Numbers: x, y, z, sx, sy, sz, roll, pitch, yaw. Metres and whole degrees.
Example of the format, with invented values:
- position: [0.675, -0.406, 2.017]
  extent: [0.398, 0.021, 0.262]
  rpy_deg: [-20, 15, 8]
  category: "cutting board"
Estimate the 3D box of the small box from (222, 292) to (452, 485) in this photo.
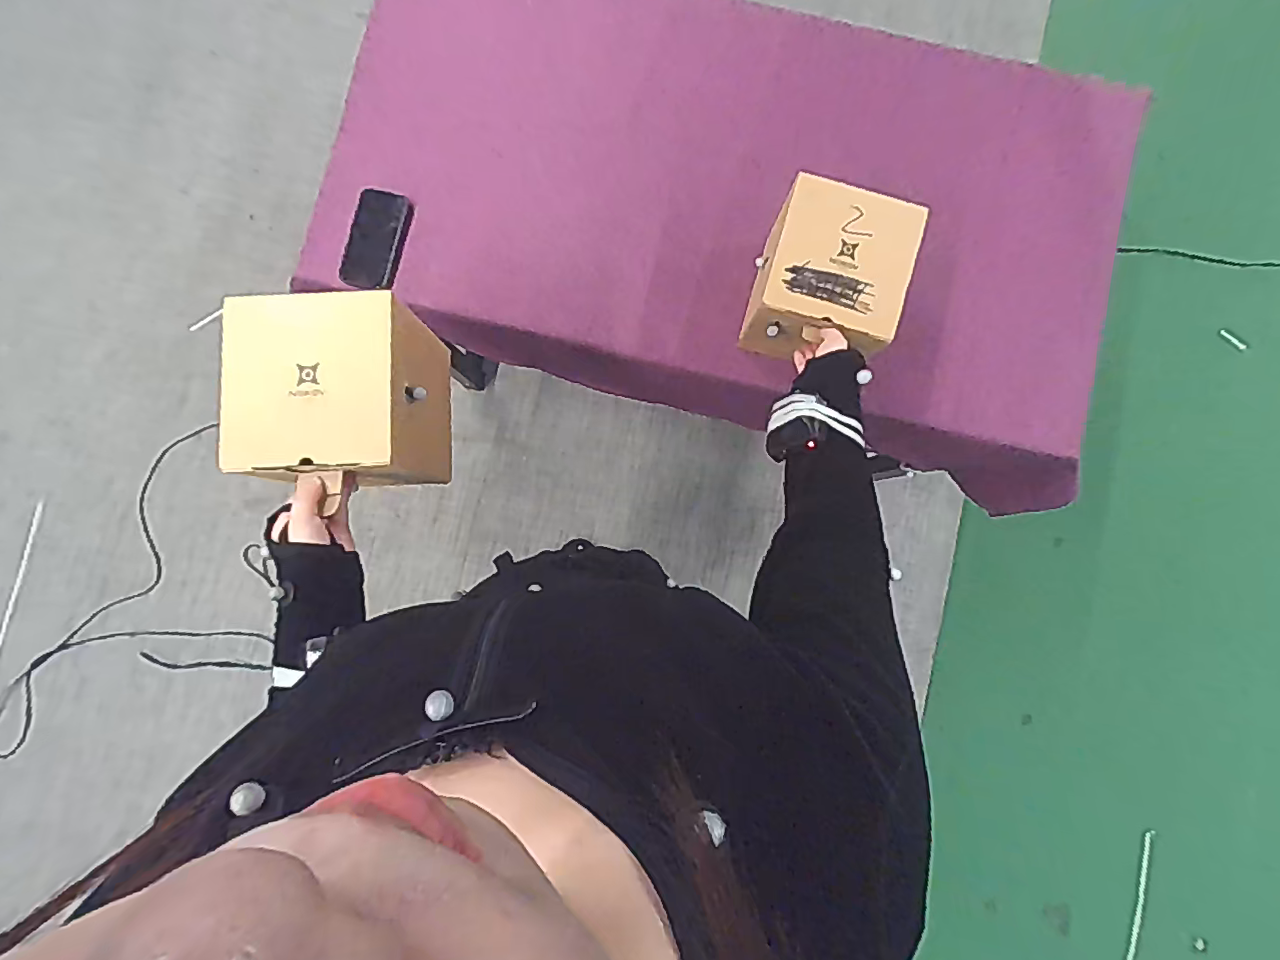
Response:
- position: [-0.318, -0.089, 0.601]
  extent: [0.168, 0.176, 0.179]
  rpy_deg: [-2, 85, -1]
  category: "small box"
